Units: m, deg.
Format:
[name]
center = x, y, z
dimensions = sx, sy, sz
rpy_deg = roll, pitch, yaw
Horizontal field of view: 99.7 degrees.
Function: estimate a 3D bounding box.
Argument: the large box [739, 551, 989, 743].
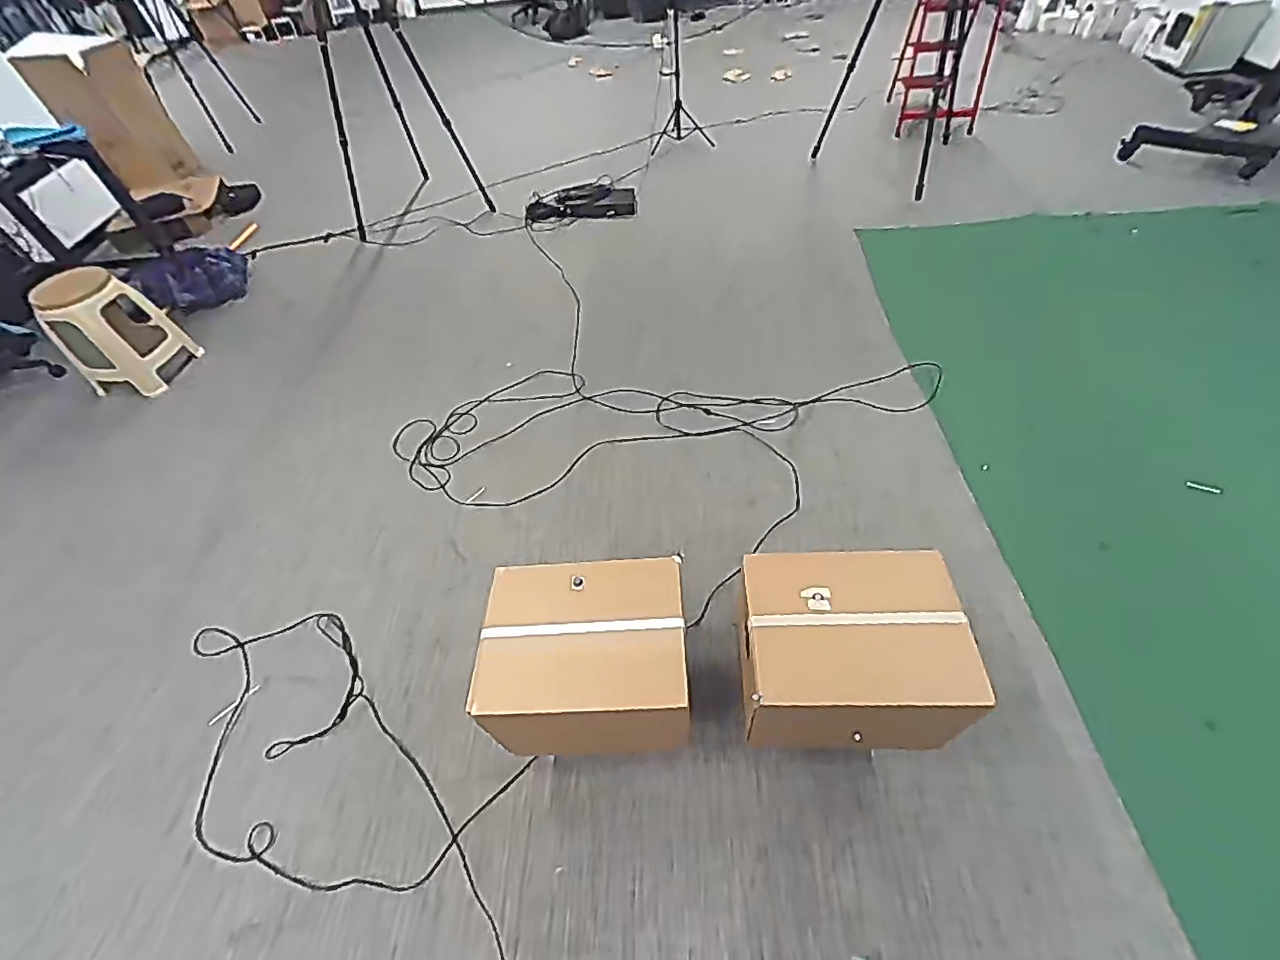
[large box]
center = 0.433, 0.369, 1.167
dimensions = 0.408, 0.320, 0.320
rpy_deg = -2, 51, 6
